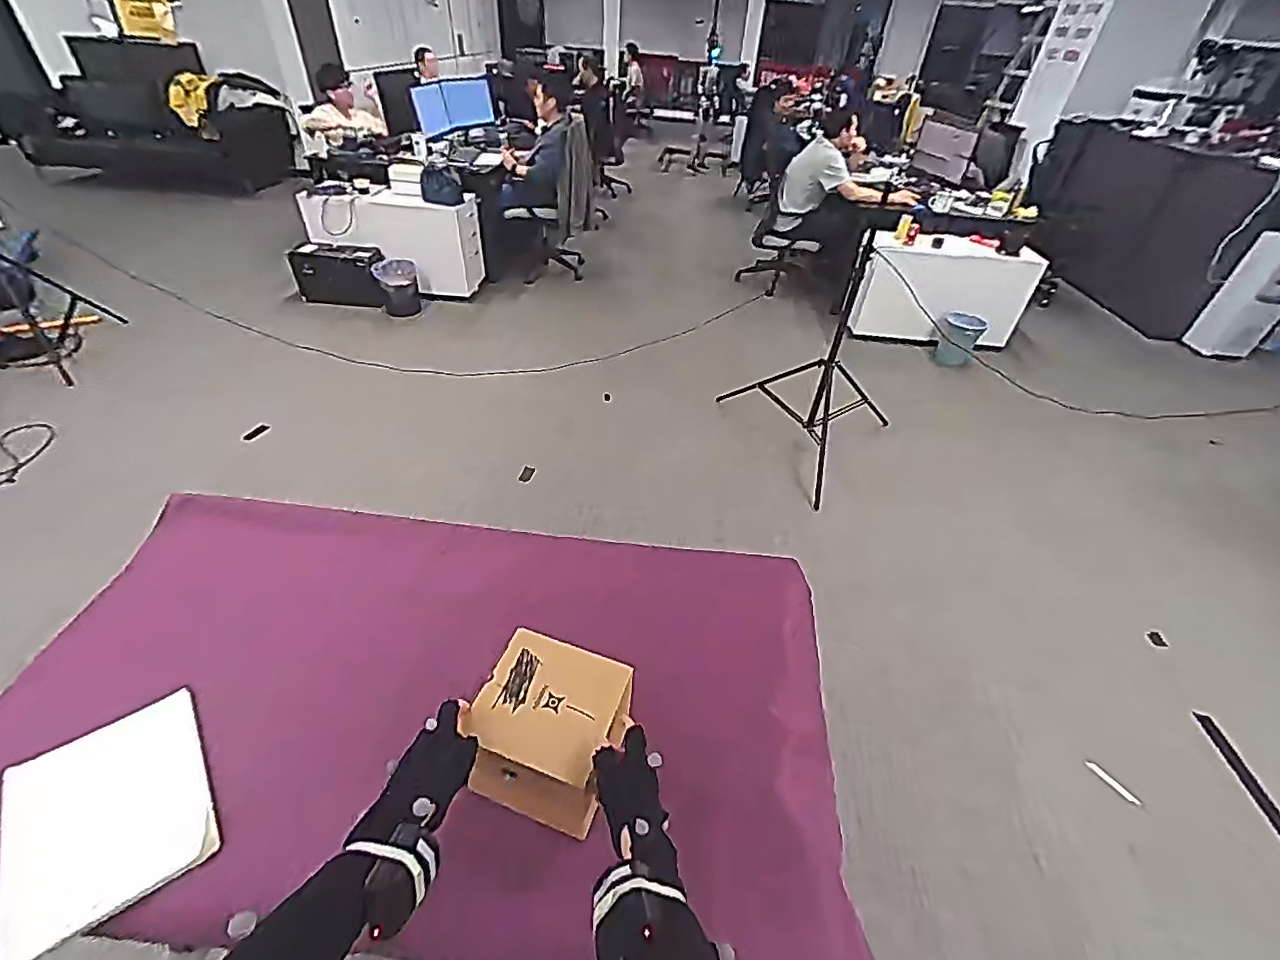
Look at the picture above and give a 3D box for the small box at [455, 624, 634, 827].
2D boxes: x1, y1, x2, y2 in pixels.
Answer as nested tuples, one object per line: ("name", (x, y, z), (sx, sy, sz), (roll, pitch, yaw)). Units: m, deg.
("small box", (-0.120, 0.332, 0.733), (0.179, 0.176, 0.168), (15, 40, 13))
